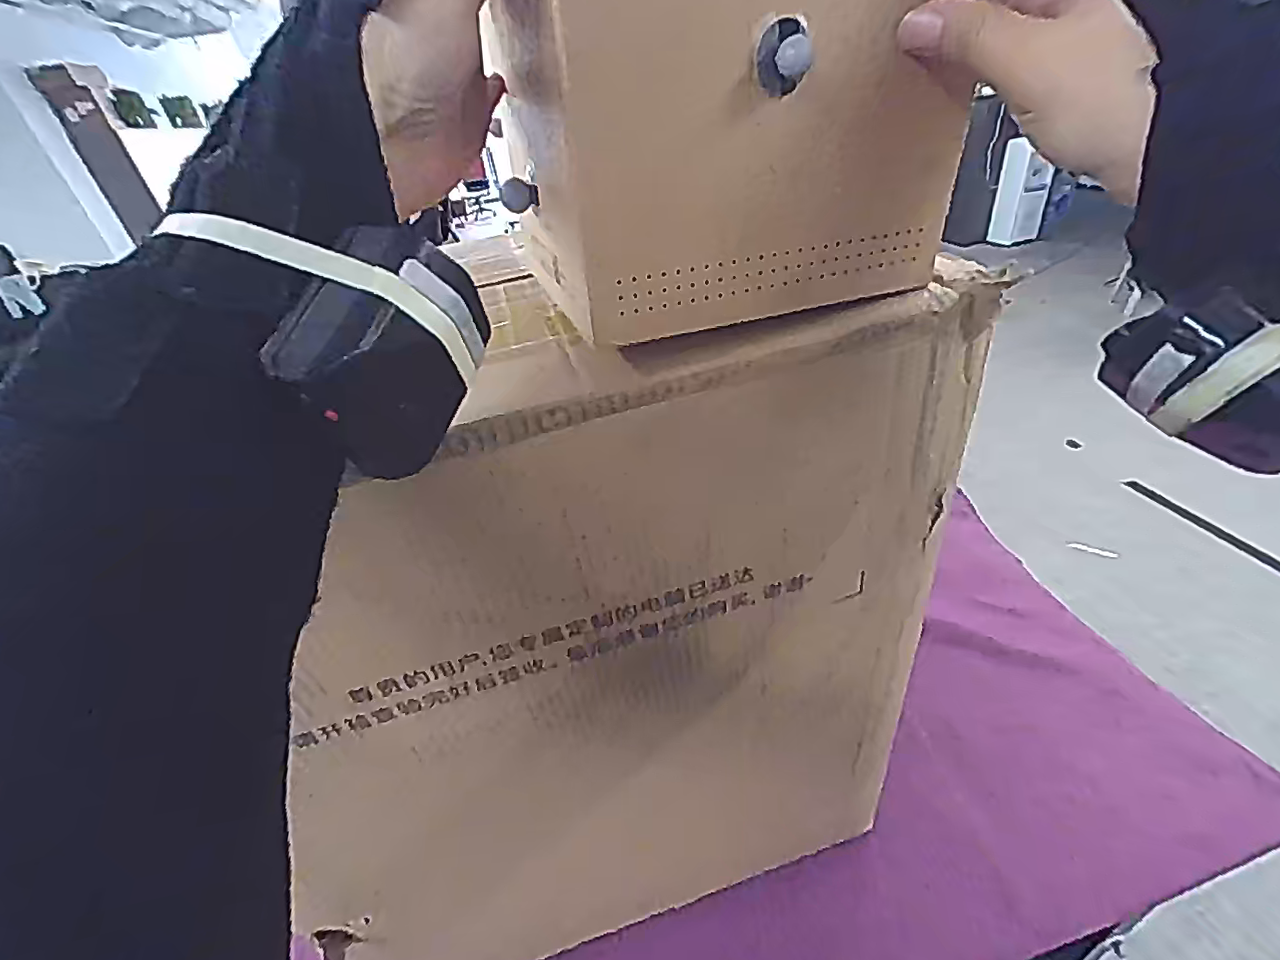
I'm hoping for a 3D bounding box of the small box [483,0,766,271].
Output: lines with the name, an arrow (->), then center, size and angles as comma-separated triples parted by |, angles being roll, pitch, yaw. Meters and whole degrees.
small box -> -0.012, -0.277, 0.428 | 0.179, 0.176, 0.168 | -15, 34, -7
